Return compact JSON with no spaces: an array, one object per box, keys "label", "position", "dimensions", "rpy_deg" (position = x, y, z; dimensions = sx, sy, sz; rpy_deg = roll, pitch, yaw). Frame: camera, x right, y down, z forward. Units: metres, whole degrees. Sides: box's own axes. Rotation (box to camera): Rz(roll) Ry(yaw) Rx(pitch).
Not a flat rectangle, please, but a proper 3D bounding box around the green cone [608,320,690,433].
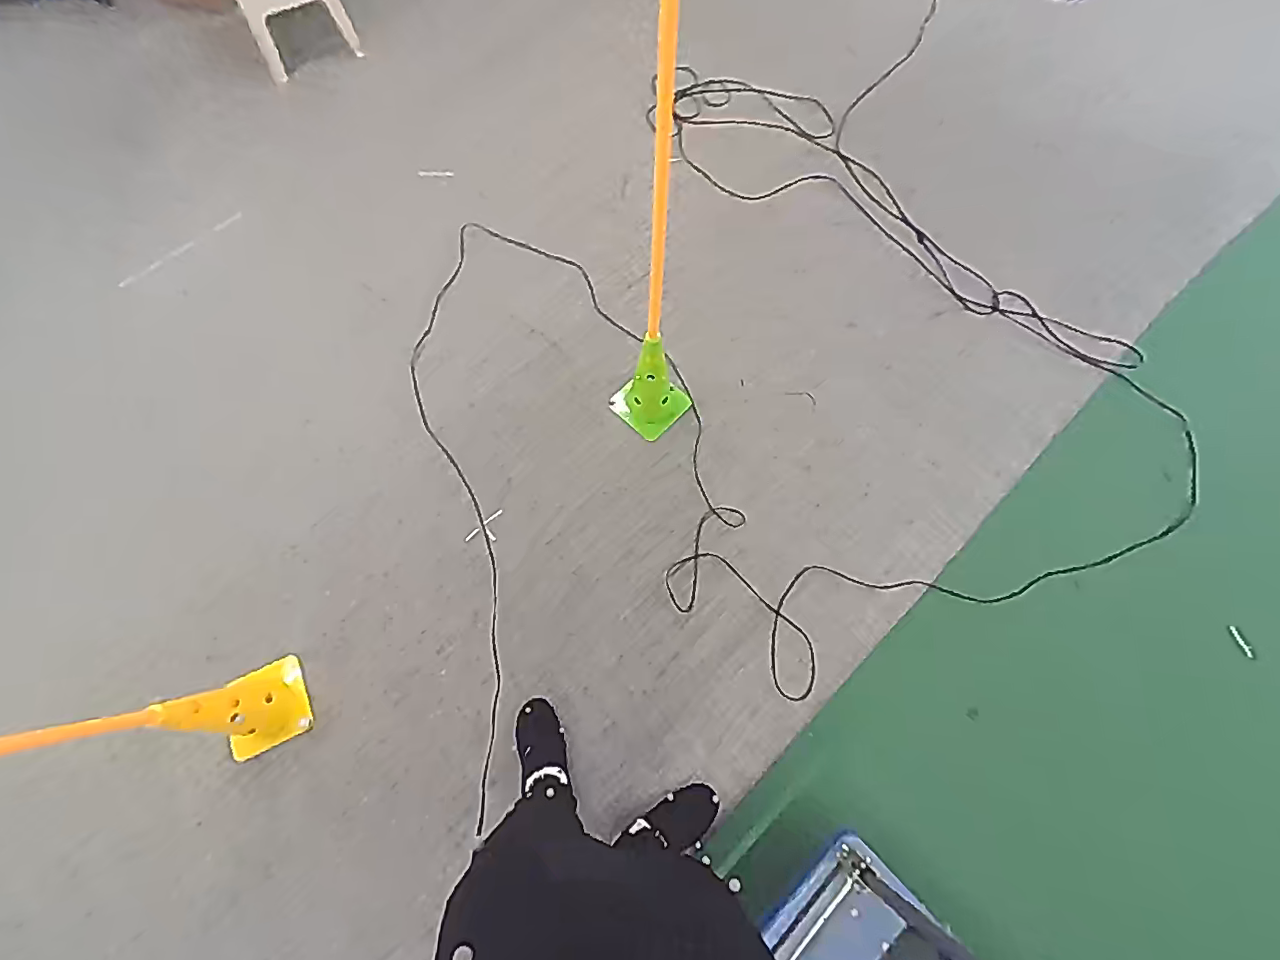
[{"label":"green cone","position":[0.033,-0.322,1.536],"dimensions":[0.200,0.368,0.202],"rpy_deg":[41,74,13]}]
